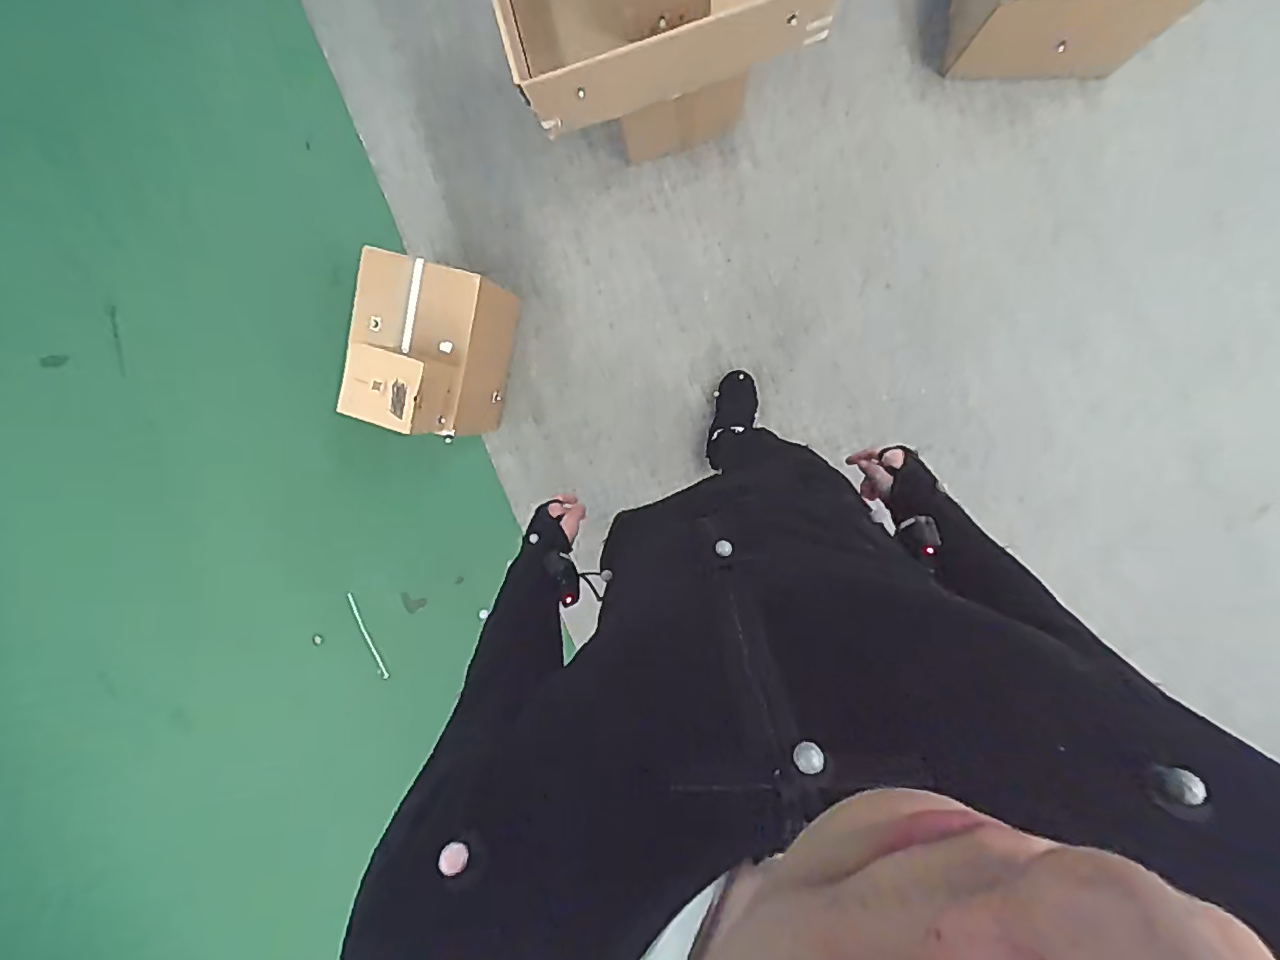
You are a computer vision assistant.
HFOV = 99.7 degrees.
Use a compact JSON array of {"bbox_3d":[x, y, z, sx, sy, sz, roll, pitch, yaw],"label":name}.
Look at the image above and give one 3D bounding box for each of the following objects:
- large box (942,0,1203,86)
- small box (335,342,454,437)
[{"bbox_3d":[0.967,-1.143,1.216,0.408,0.320,0.320,3,98,7],"label":"large box"},{"bbox_3d":[-0.558,-0.208,1.252,0.179,0.176,0.168,18,98,3],"label":"small box"}]
